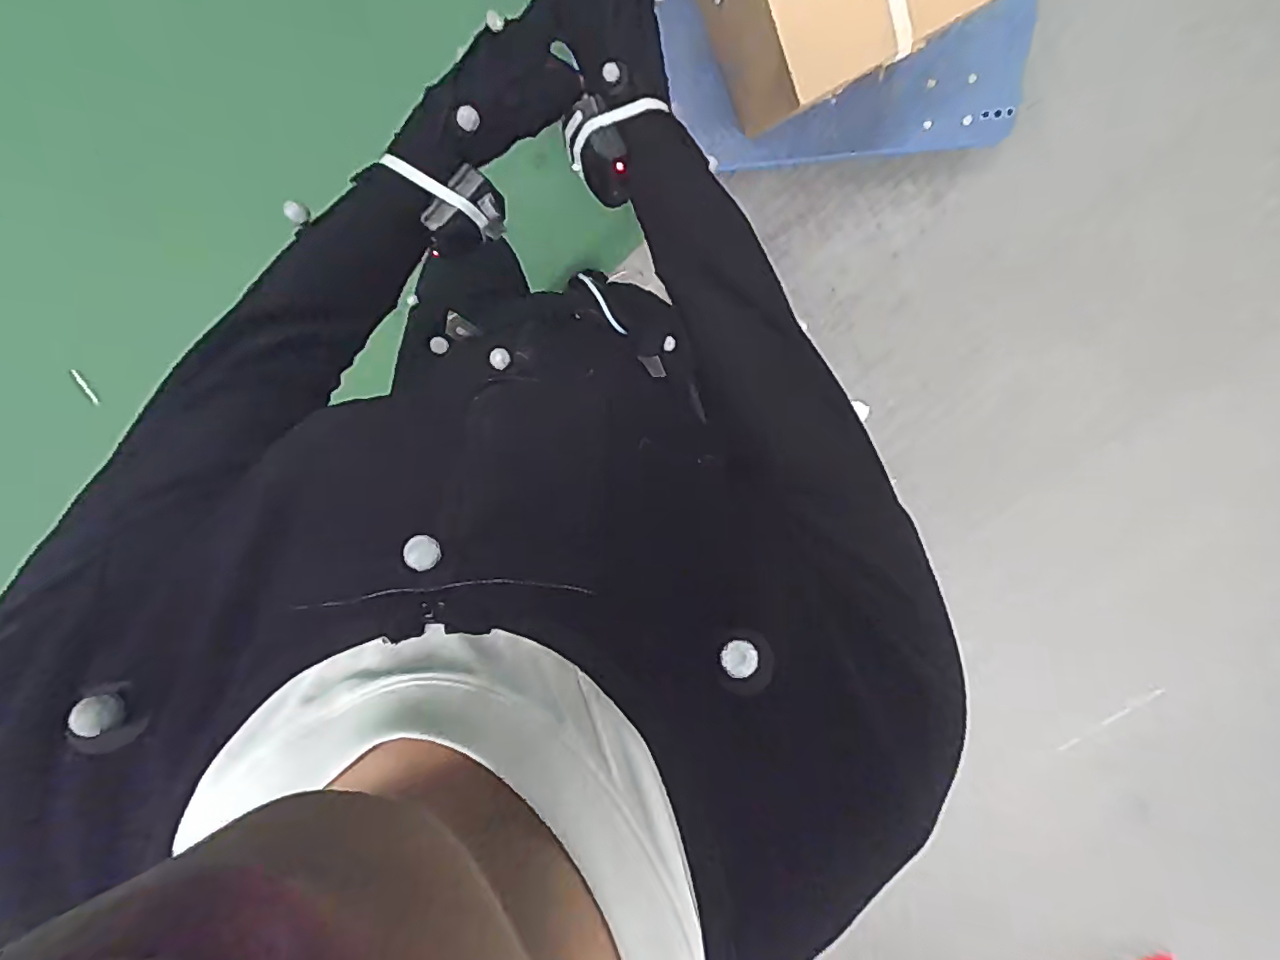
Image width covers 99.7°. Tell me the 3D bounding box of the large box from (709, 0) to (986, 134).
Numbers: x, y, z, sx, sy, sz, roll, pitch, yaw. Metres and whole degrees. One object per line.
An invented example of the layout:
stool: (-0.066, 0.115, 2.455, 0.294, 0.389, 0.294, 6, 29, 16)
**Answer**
large box: (0.279, -0.832, 0.822, 0.320, 0.320, 0.408, -25, 113, 7)
